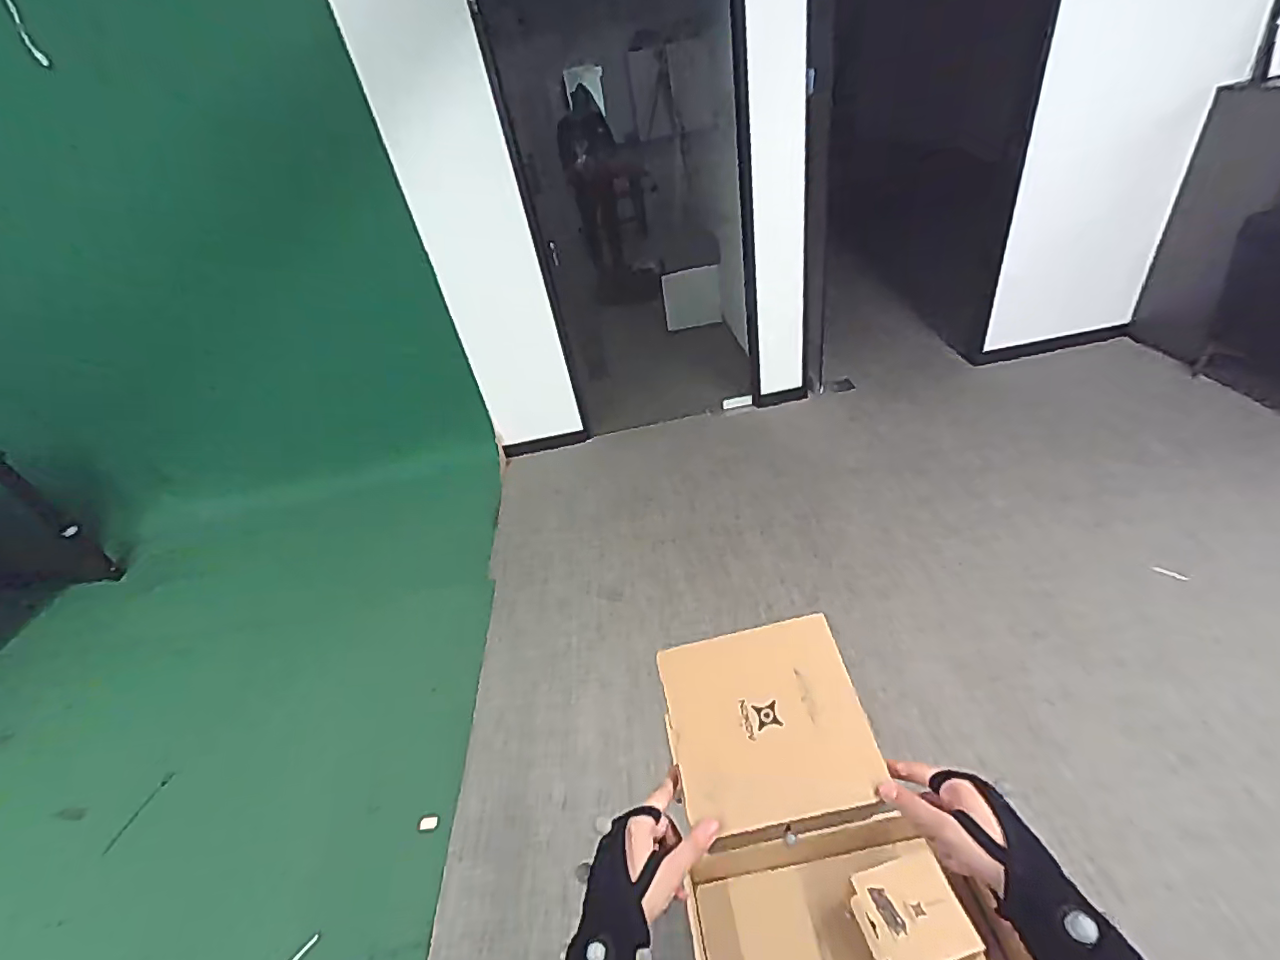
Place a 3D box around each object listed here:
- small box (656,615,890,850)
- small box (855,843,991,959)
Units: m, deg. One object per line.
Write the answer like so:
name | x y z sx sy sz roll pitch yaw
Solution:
small box | 0.129 0.265 0.557 0.179 0.176 0.168 -15 51 3
small box | 0.549 0.868 1.075 0.179 0.176 0.168 -16 38 -4
